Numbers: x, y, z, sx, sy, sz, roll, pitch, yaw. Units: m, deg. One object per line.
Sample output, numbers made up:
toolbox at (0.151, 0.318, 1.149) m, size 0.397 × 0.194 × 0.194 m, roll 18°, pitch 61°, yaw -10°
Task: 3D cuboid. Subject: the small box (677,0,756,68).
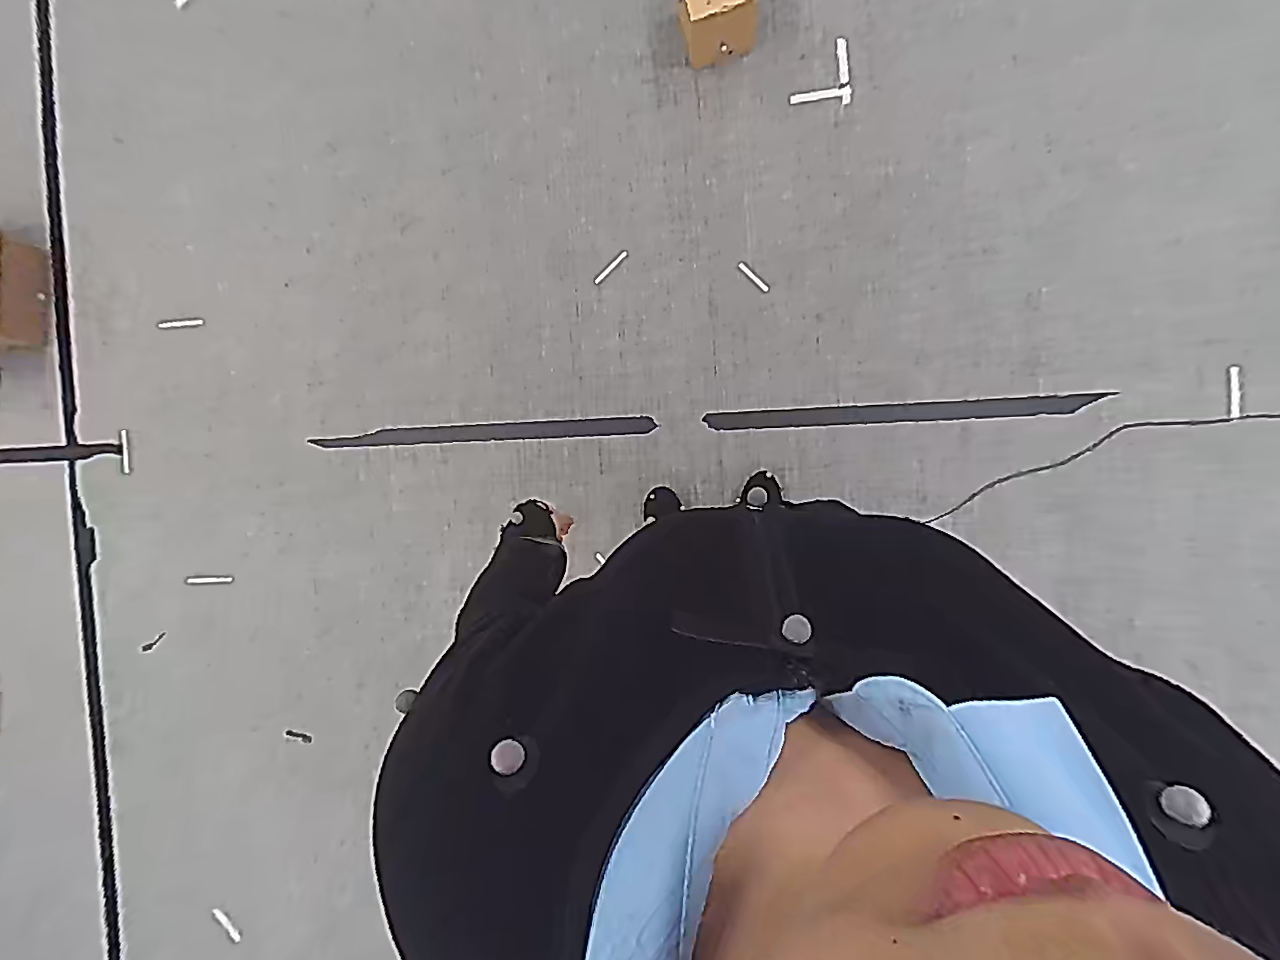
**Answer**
small box at (0.192, -1.224, 1.391) m, size 0.168 × 0.176 × 0.179 m, roll -15°, pitch 89°, yaw 7°
